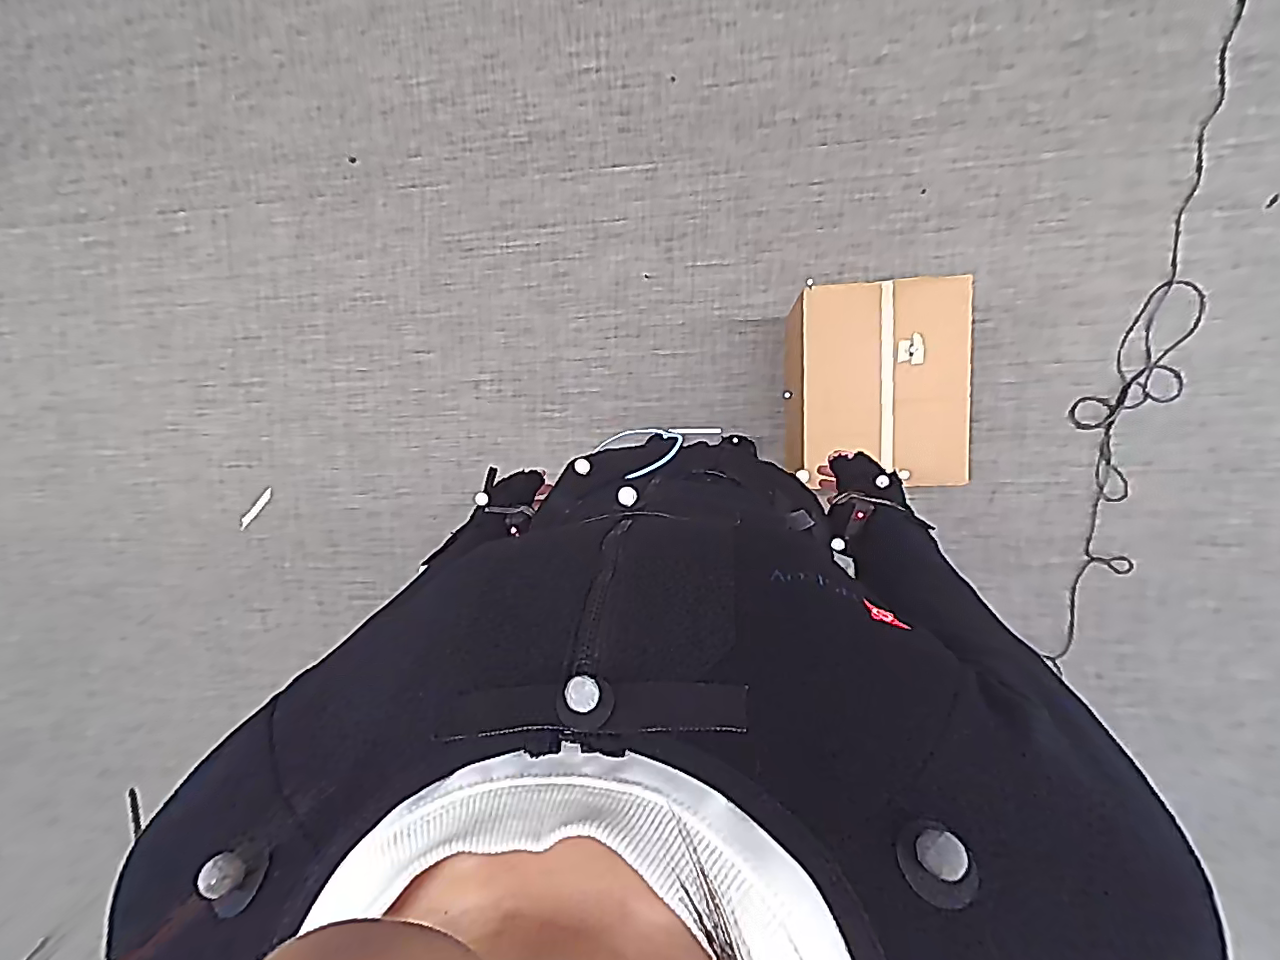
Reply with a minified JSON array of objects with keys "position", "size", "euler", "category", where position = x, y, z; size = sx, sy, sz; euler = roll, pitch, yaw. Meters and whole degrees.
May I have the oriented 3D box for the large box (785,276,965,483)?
[{"position":[0.507,-0.205,1.230],"size":[0.320,0.320,0.408],"euler":[-1,94,7],"category":"large box"}]
